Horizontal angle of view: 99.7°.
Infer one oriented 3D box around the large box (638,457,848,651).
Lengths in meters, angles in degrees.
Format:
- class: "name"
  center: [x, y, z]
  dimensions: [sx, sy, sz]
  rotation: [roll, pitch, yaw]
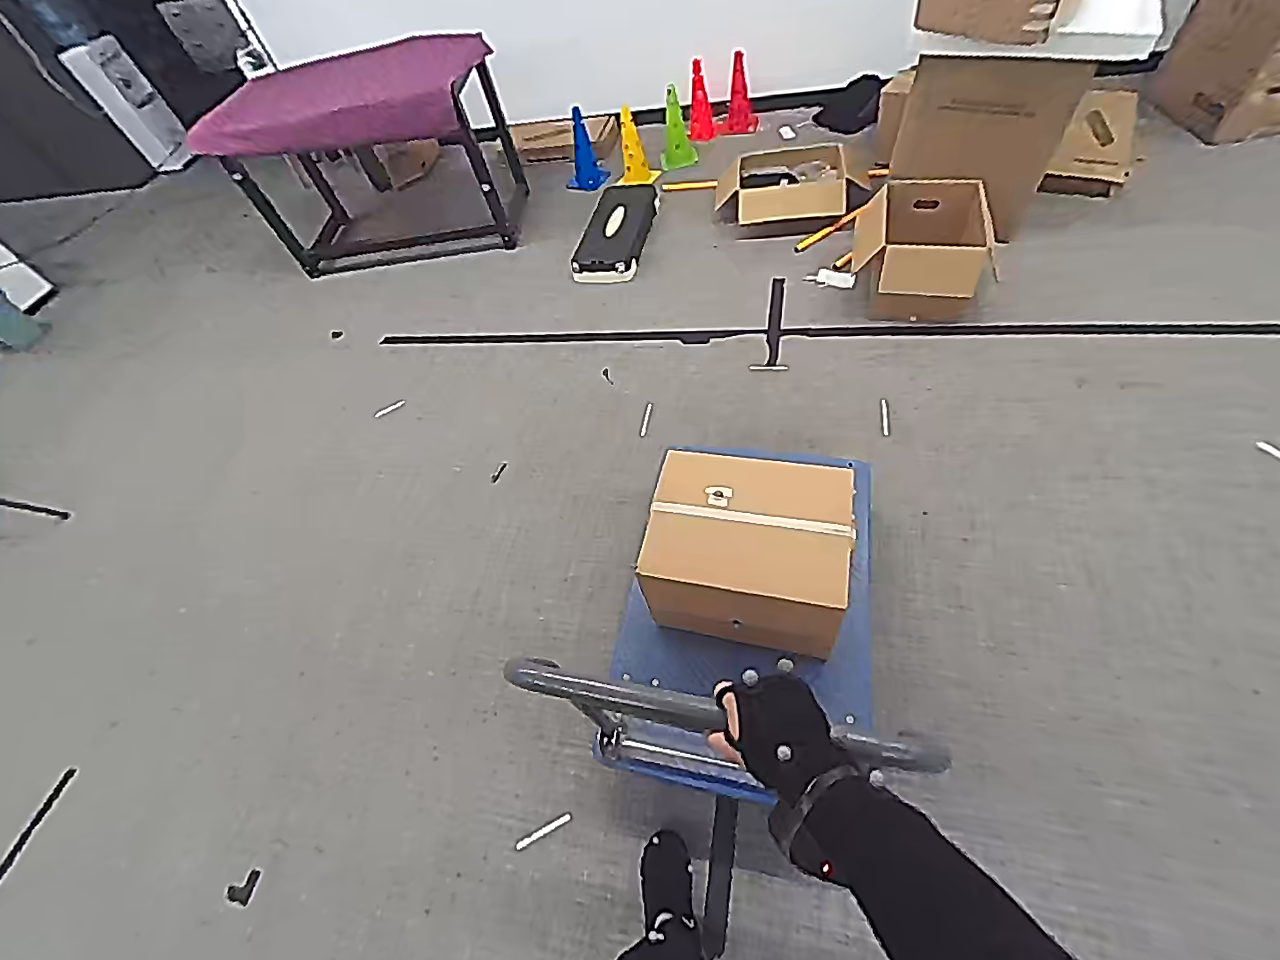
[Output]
- class: "large box"
  center: [0.246, 0.171, 1.242]
  dimensions: [0.408, 0.320, 0.320]
  rotation: [6, 56, 16]
